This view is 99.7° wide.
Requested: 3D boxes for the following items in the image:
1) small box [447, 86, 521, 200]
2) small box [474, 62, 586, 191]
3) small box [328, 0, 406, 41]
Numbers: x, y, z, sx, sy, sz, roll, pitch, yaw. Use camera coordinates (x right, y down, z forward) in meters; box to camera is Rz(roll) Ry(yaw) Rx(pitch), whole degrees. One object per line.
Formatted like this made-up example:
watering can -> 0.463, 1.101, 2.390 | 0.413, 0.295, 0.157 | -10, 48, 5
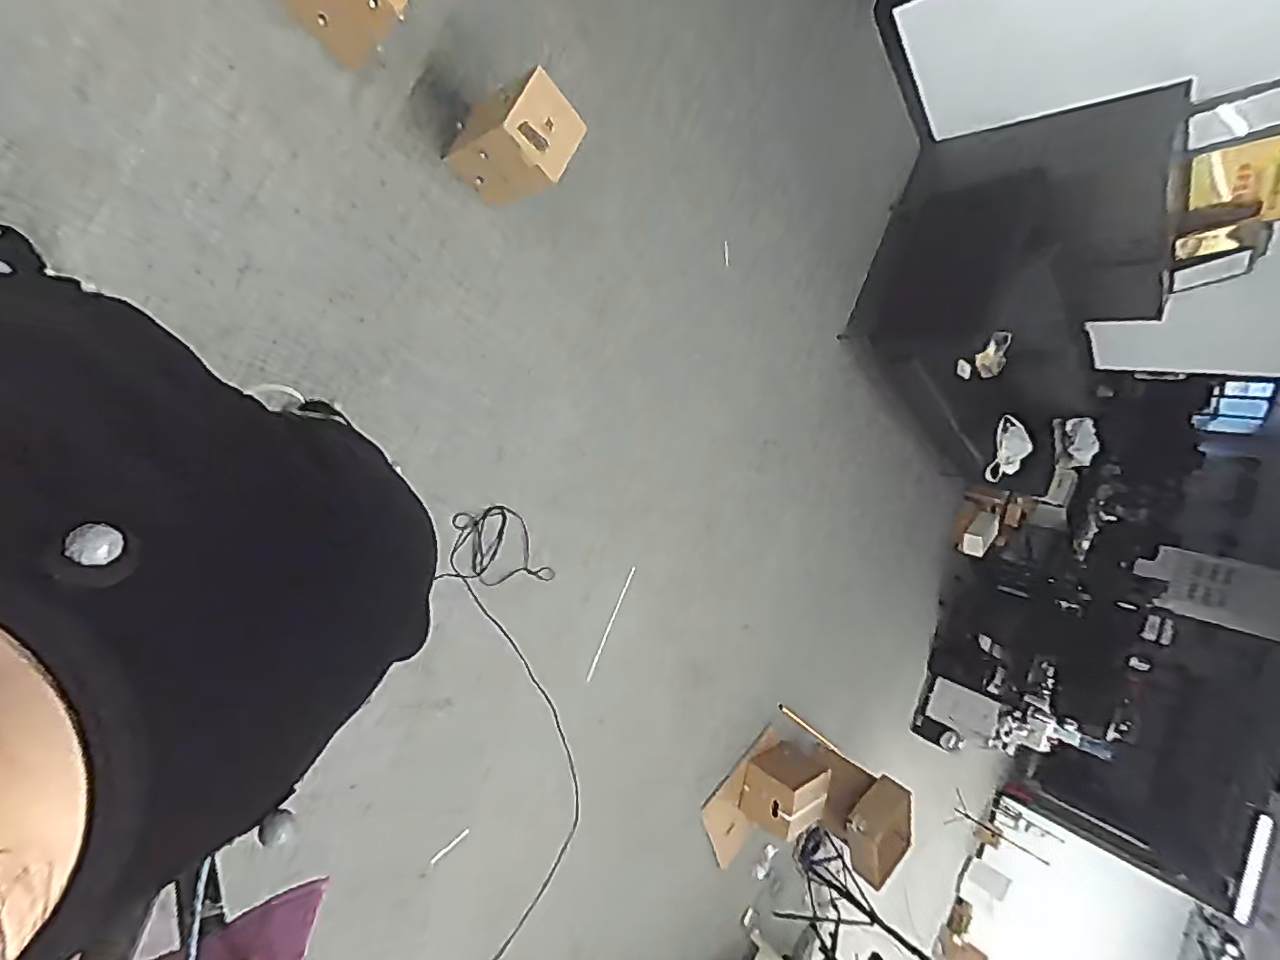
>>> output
small box -> -0.374, -0.860, 1.402 | 0.168, 0.176, 0.179 | 32, 80, -44
small box -> -0.267, -0.824, 1.282 | 0.168, 0.176, 0.179 | 34, 77, -43
small box -> -0.517, -0.983, 1.006 | 0.179, 0.176, 0.168 | 34, 78, -43
